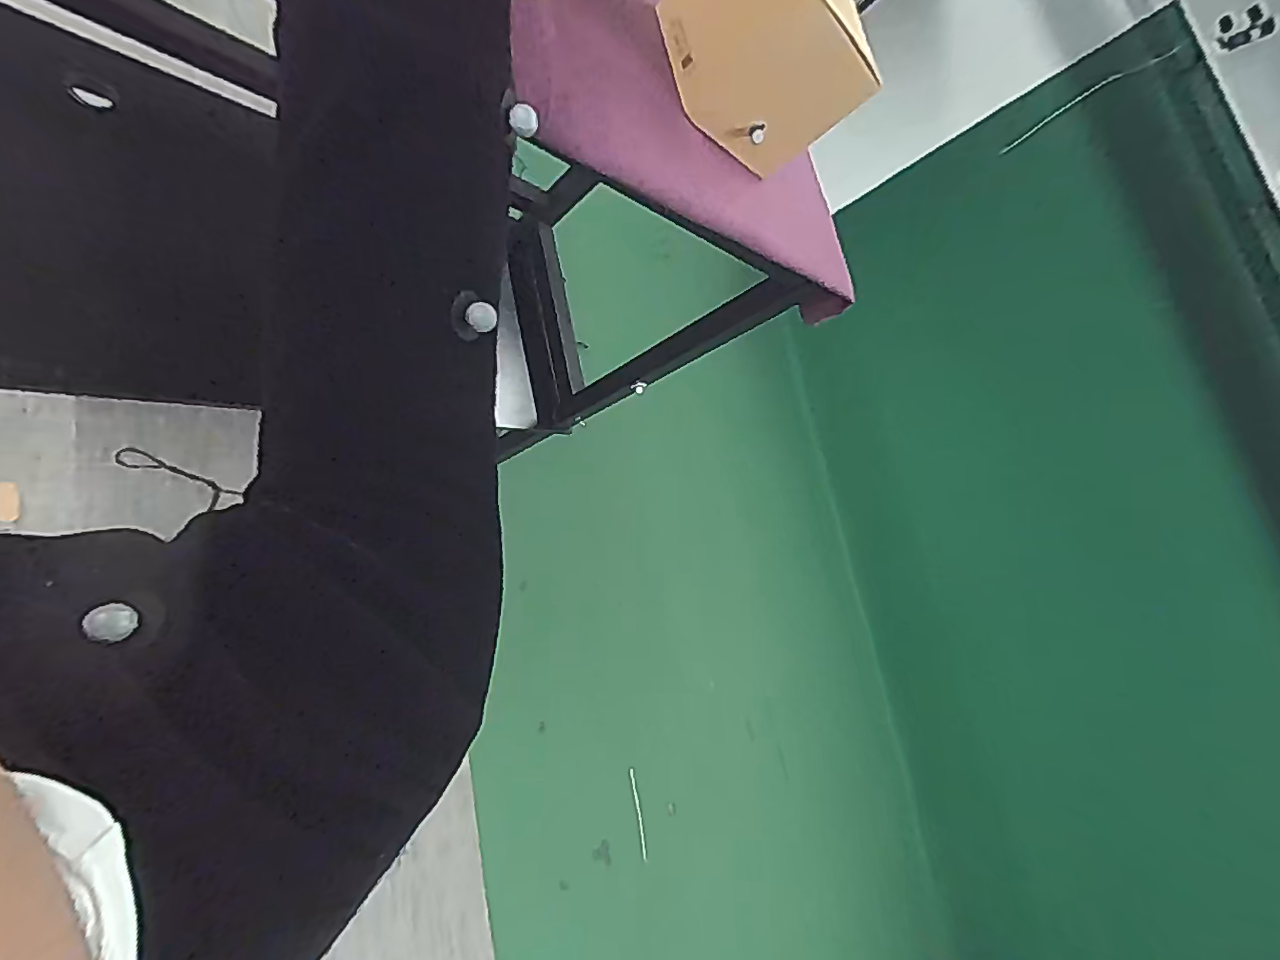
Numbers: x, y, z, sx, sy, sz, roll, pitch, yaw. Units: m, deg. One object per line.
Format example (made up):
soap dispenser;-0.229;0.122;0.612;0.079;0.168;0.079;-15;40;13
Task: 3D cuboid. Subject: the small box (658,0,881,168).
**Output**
small box;0.148;-0.507;0.629;0.179;0.176;0.168;1;72;-48
